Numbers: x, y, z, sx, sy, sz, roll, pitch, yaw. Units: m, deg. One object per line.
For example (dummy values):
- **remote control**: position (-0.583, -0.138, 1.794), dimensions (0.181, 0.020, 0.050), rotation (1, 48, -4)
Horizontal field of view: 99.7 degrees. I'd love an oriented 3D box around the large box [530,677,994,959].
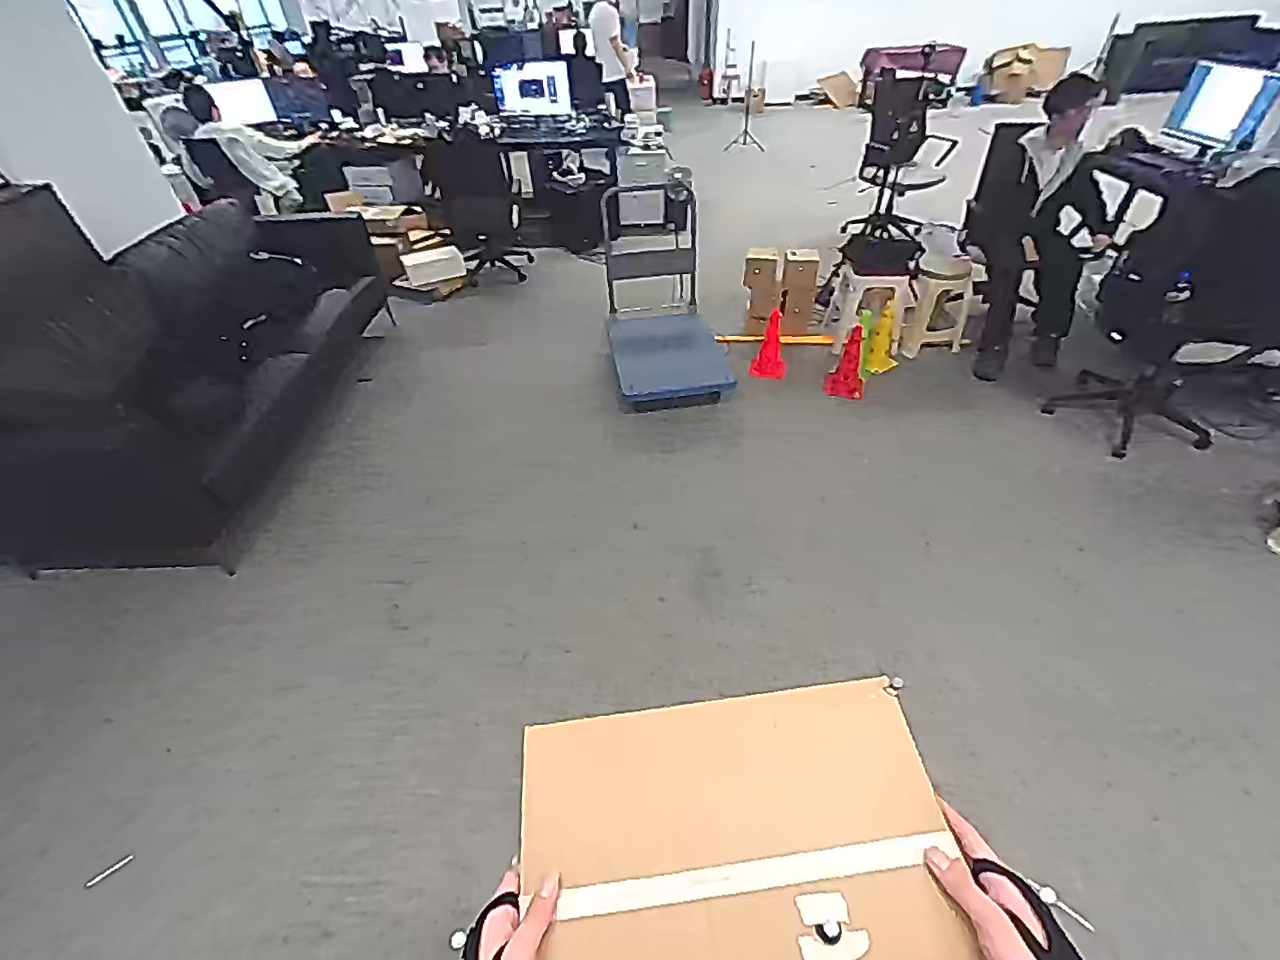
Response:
- **large box**: position (0.102, 0.463, 0.623), dimensions (0.408, 0.320, 0.320), rotation (-8, 51, -2)
